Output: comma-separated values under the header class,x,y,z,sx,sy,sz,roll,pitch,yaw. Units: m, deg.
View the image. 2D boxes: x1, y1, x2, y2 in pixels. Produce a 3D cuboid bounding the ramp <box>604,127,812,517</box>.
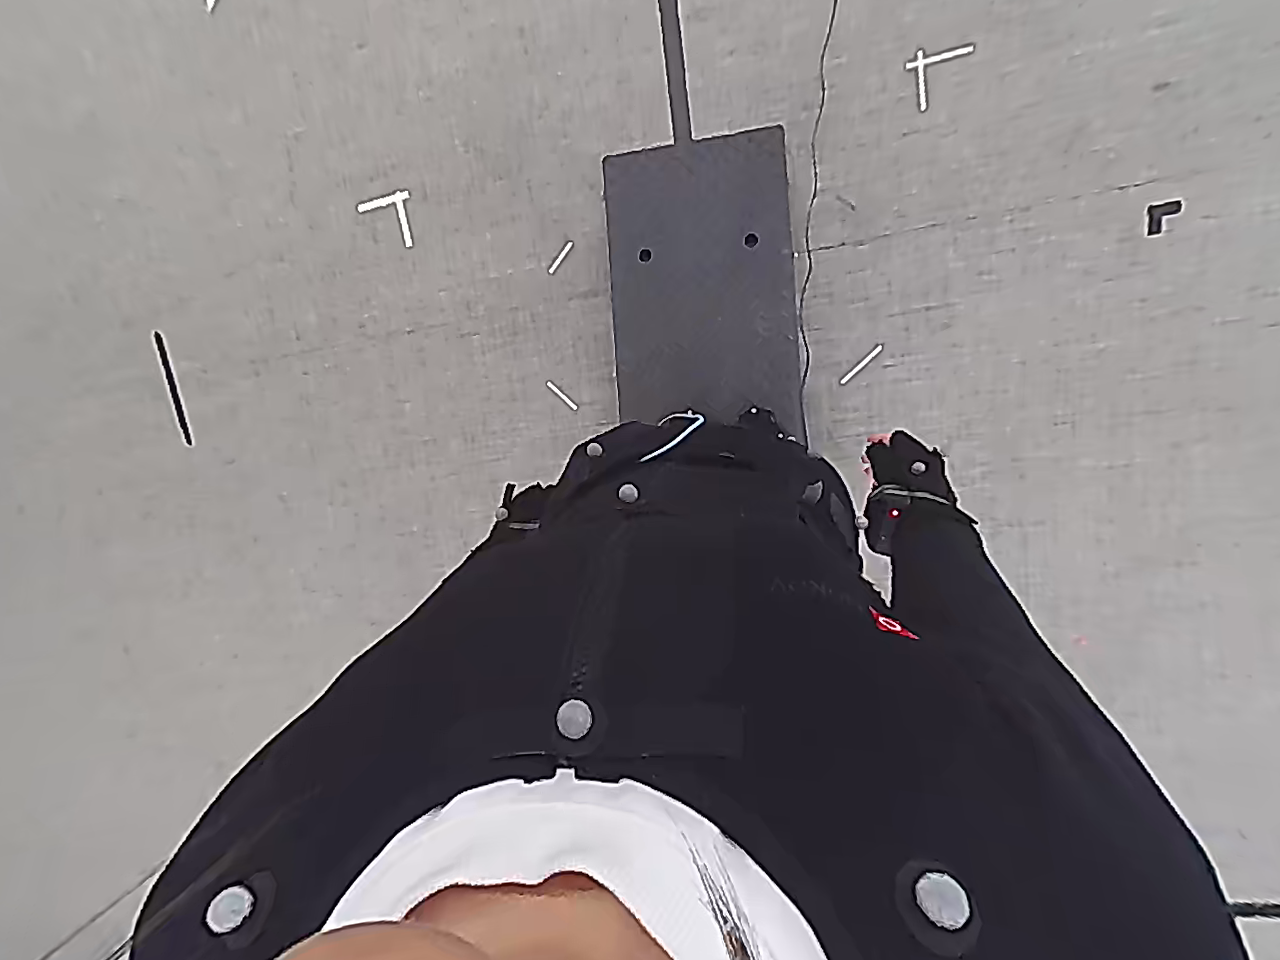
class,x,y,z,sx,sy,sz,roll,pitch,yaw
ramp,0.170,-0.411,1.451,0.509,0.206,0.991,-6,98,12
